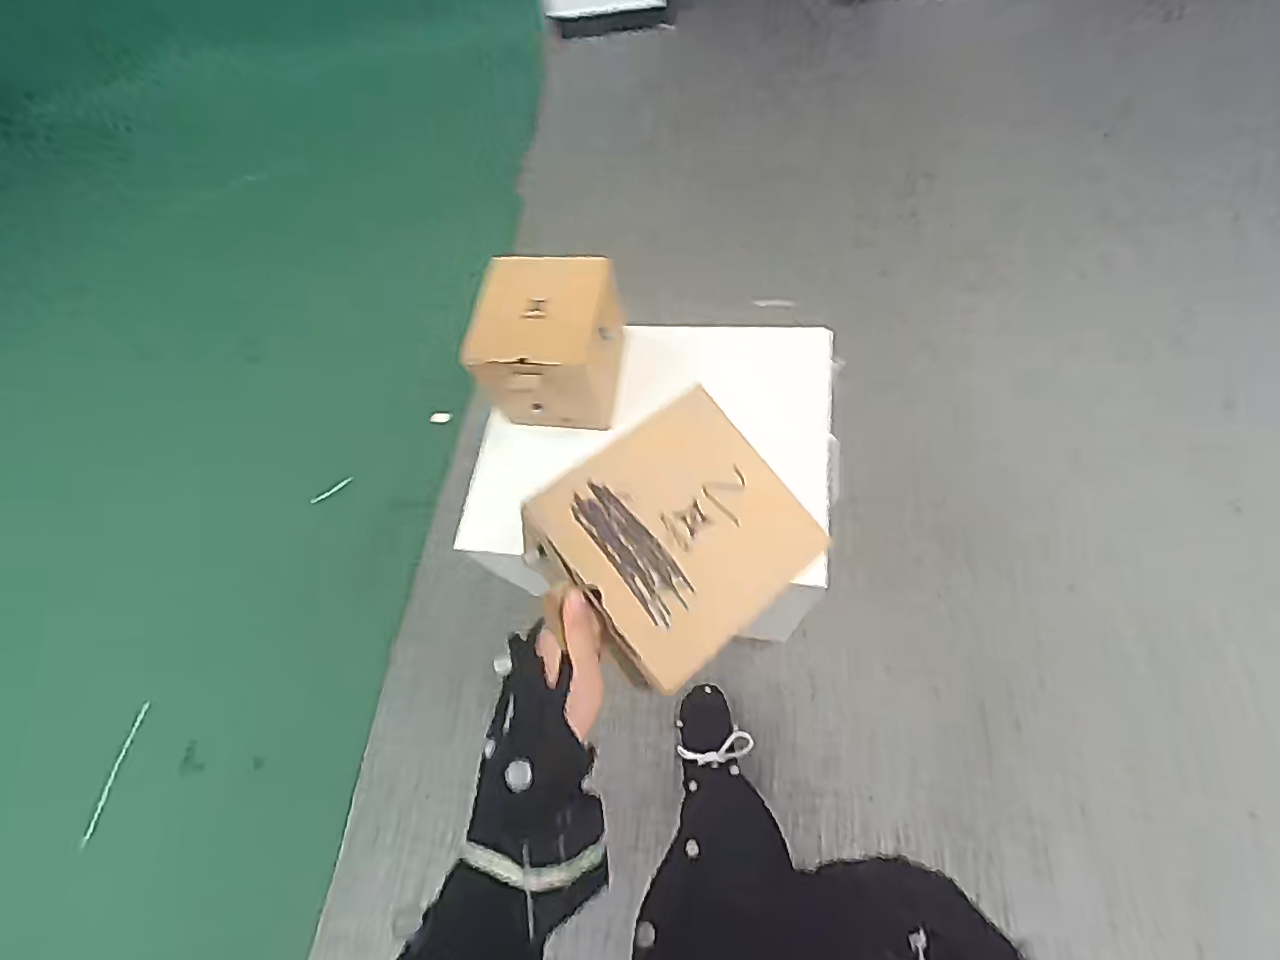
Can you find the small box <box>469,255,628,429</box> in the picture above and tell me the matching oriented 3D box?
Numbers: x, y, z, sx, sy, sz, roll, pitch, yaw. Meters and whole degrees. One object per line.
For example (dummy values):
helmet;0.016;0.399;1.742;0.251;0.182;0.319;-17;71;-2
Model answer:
small box;-0.117;-0.194;0.780;0.168;0.176;0.179;5;69;11
